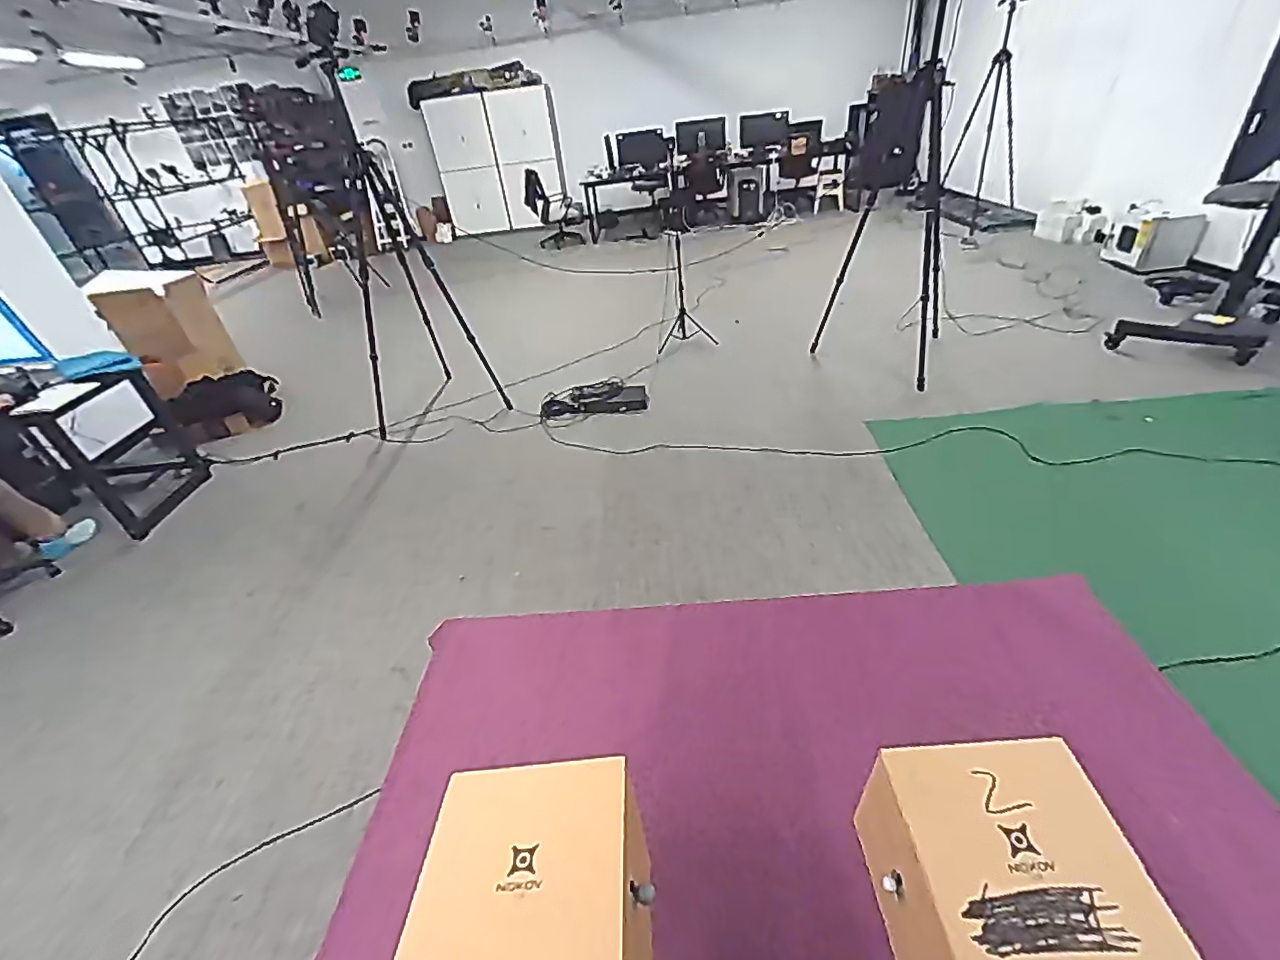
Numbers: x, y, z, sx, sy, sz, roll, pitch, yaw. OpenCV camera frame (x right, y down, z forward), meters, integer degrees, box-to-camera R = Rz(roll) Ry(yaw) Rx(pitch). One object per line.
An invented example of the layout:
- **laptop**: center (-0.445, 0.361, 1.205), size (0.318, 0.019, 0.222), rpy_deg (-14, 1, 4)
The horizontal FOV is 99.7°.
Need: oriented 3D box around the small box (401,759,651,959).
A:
- **small box**: center (-0.083, 0.383, 0.475), size (0.168, 0.176, 0.179), rpy_deg (-7, 28, 3)
